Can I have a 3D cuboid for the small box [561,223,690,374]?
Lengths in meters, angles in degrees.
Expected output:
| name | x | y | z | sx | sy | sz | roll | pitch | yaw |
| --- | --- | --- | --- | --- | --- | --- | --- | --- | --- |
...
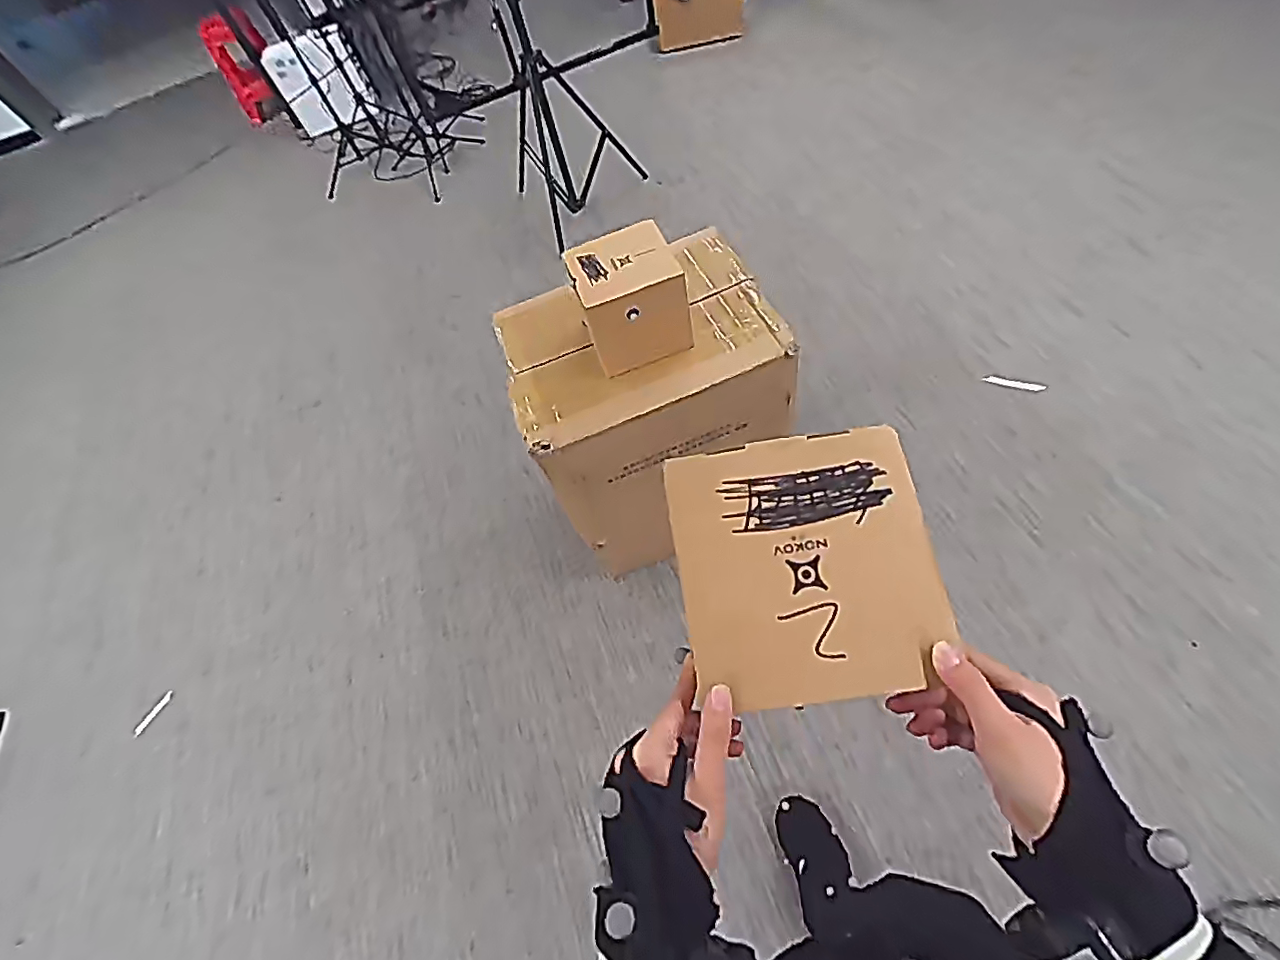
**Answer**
| name | x | y | z | sx | sy | sz | roll | pitch | yaw |
| --- | --- | --- | --- | --- | --- | --- | --- | --- | --- |
| small box | -0.022 | -0.322 | 0.982 | 0.179 | 0.176 | 0.168 | -21 | 58 | -1 |
